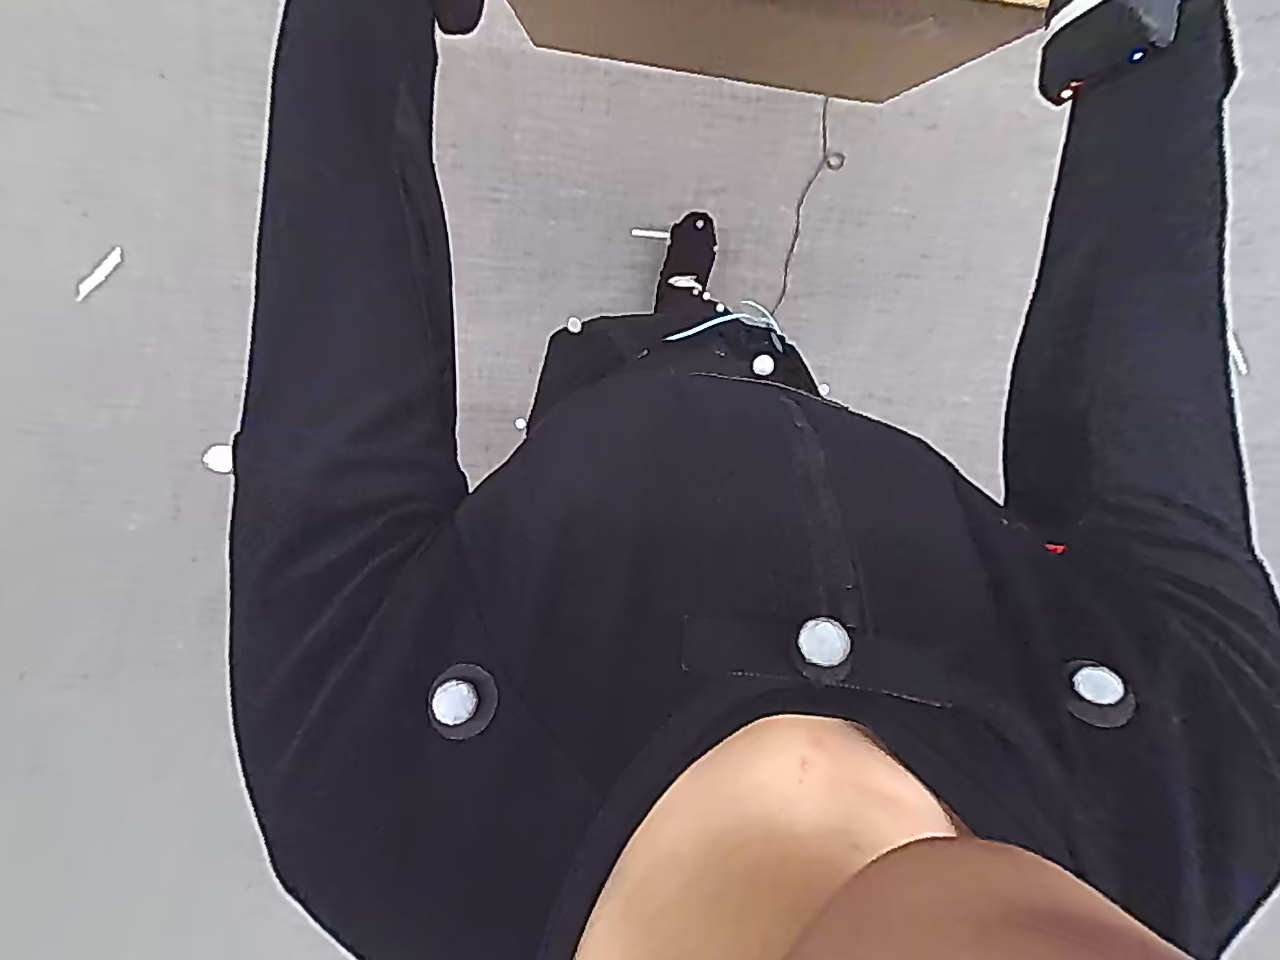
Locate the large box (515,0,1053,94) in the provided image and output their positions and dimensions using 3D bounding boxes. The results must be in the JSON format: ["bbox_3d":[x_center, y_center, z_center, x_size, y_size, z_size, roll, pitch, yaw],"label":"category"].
[{"bbox_3d":[0.098,-0.537,0.419,0.408,0.320,0.320,6,116,-4],"label":"large box"}]
